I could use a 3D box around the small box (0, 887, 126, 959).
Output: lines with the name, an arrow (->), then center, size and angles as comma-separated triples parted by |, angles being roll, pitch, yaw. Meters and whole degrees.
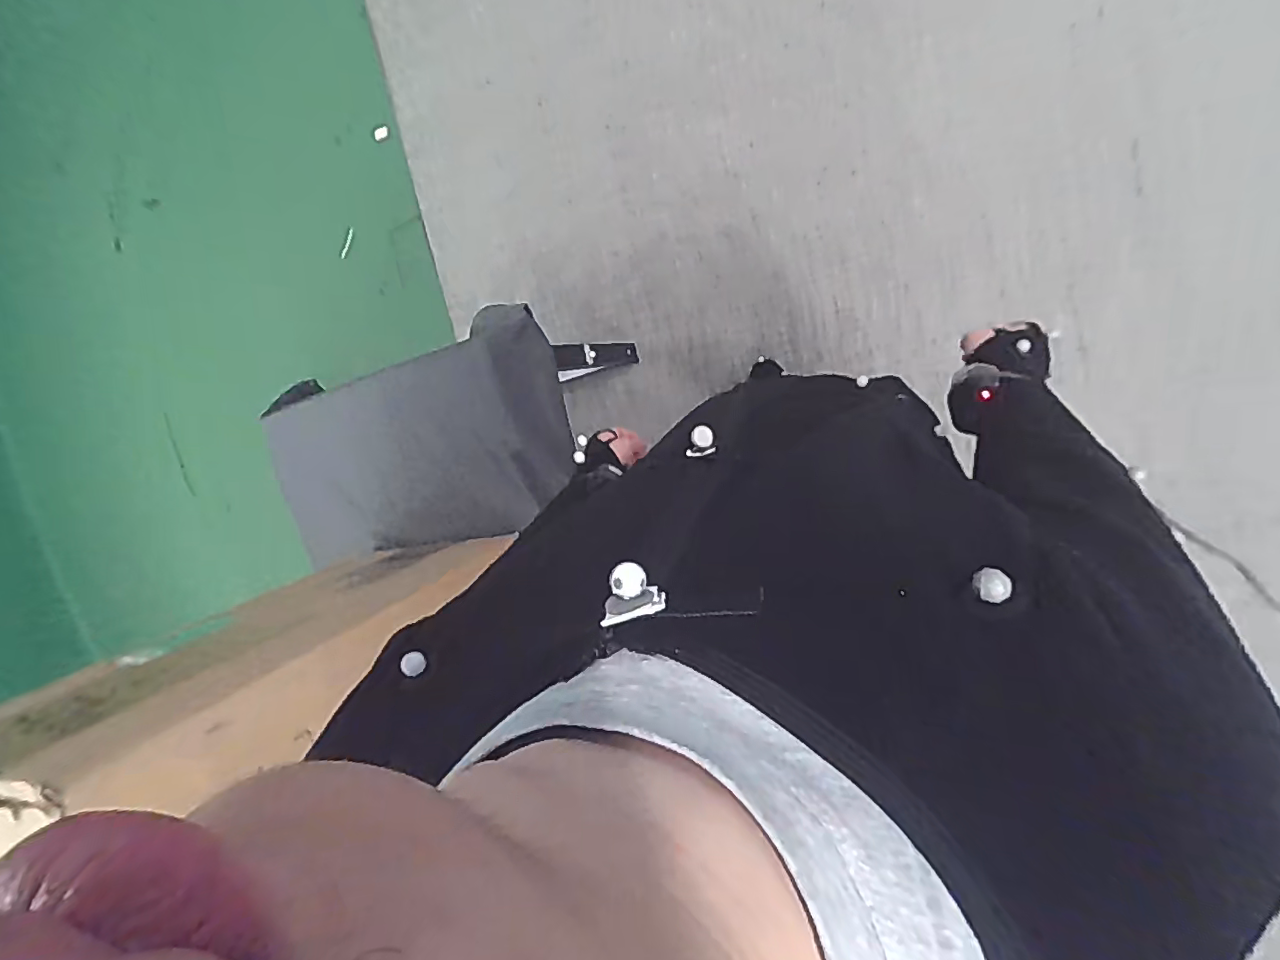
small box -> -0.514, 0.453, 0.405 | 0.179, 0.176, 0.168 | -8, 101, 23
